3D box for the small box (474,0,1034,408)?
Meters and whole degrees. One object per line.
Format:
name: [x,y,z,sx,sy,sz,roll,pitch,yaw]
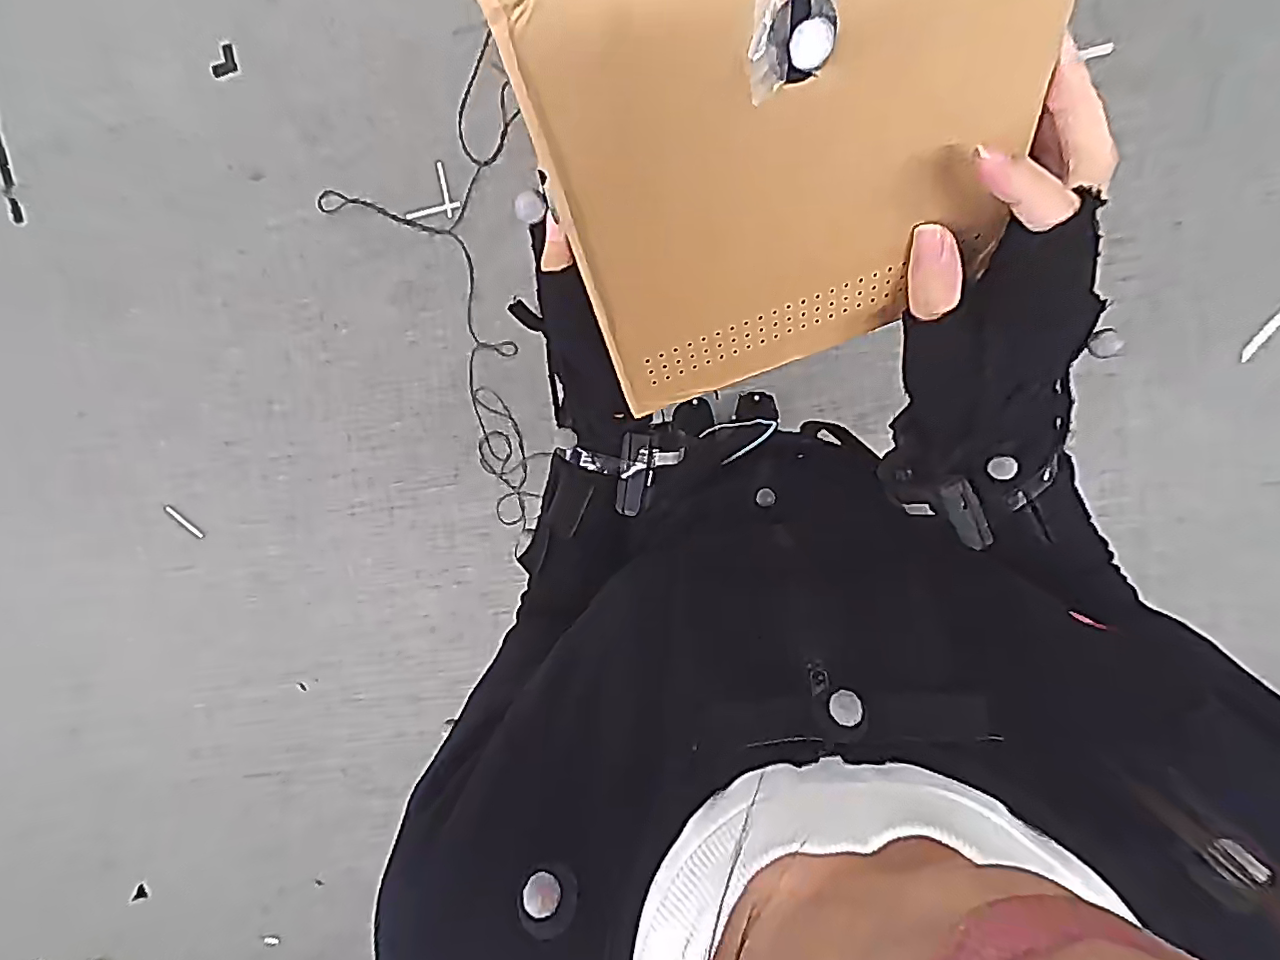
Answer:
small box: [0.041,-0.160,0.245,0.179,0.168,0.176,-20,142,2]
